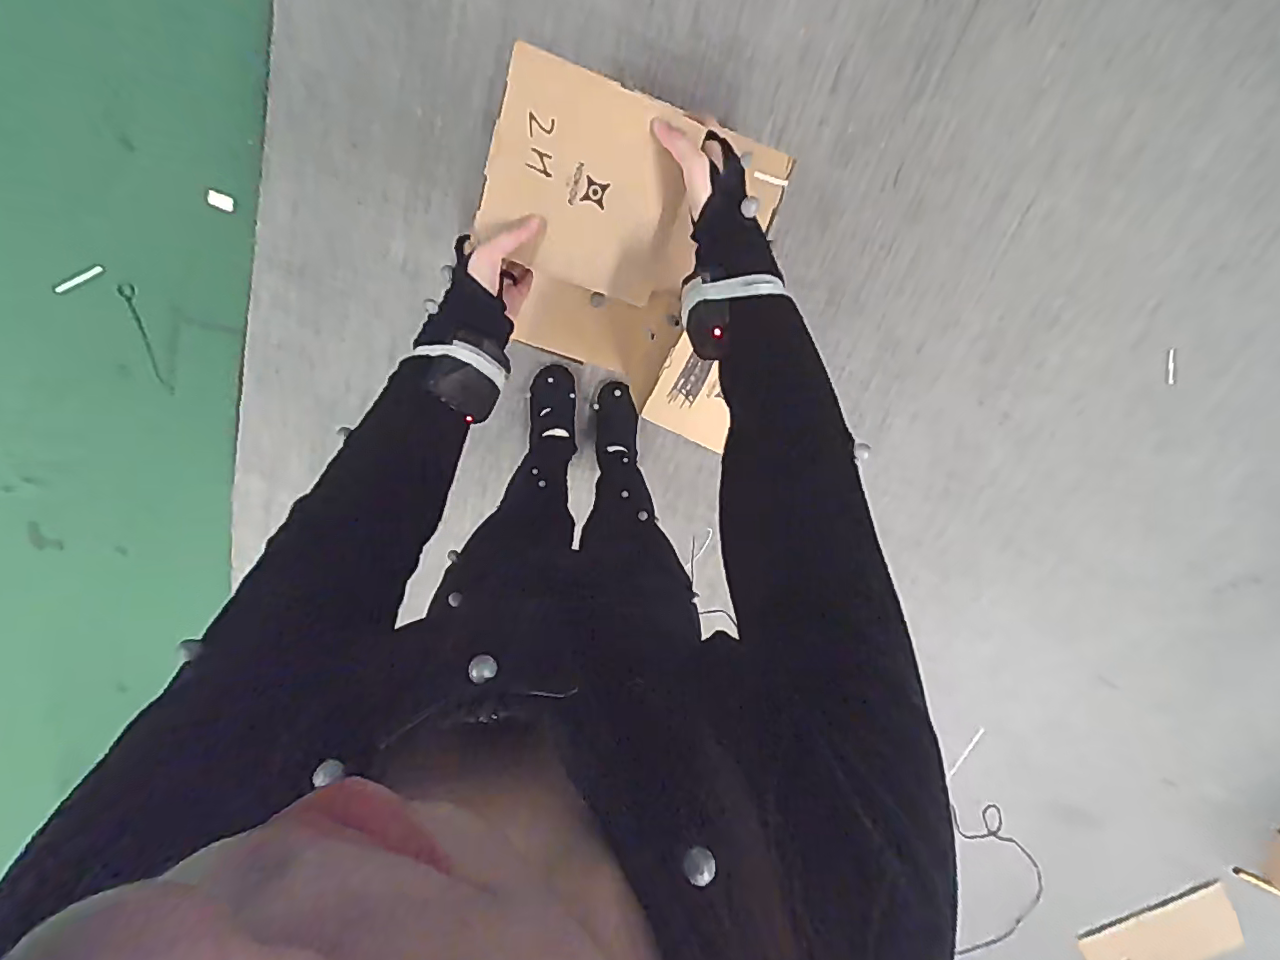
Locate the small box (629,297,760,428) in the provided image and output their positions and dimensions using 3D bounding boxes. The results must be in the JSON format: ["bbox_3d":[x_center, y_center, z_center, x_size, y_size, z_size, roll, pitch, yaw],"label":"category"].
[{"bbox_3d":[0.086,-0.220,0.981,0.168,0.176,0.179,19,108,-13],"label":"small box"}]

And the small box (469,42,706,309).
[{"bbox_3d":[-0.057,-0.297,0.558,0.179,0.176,0.168,17,111,-14],"label":"small box"}]
